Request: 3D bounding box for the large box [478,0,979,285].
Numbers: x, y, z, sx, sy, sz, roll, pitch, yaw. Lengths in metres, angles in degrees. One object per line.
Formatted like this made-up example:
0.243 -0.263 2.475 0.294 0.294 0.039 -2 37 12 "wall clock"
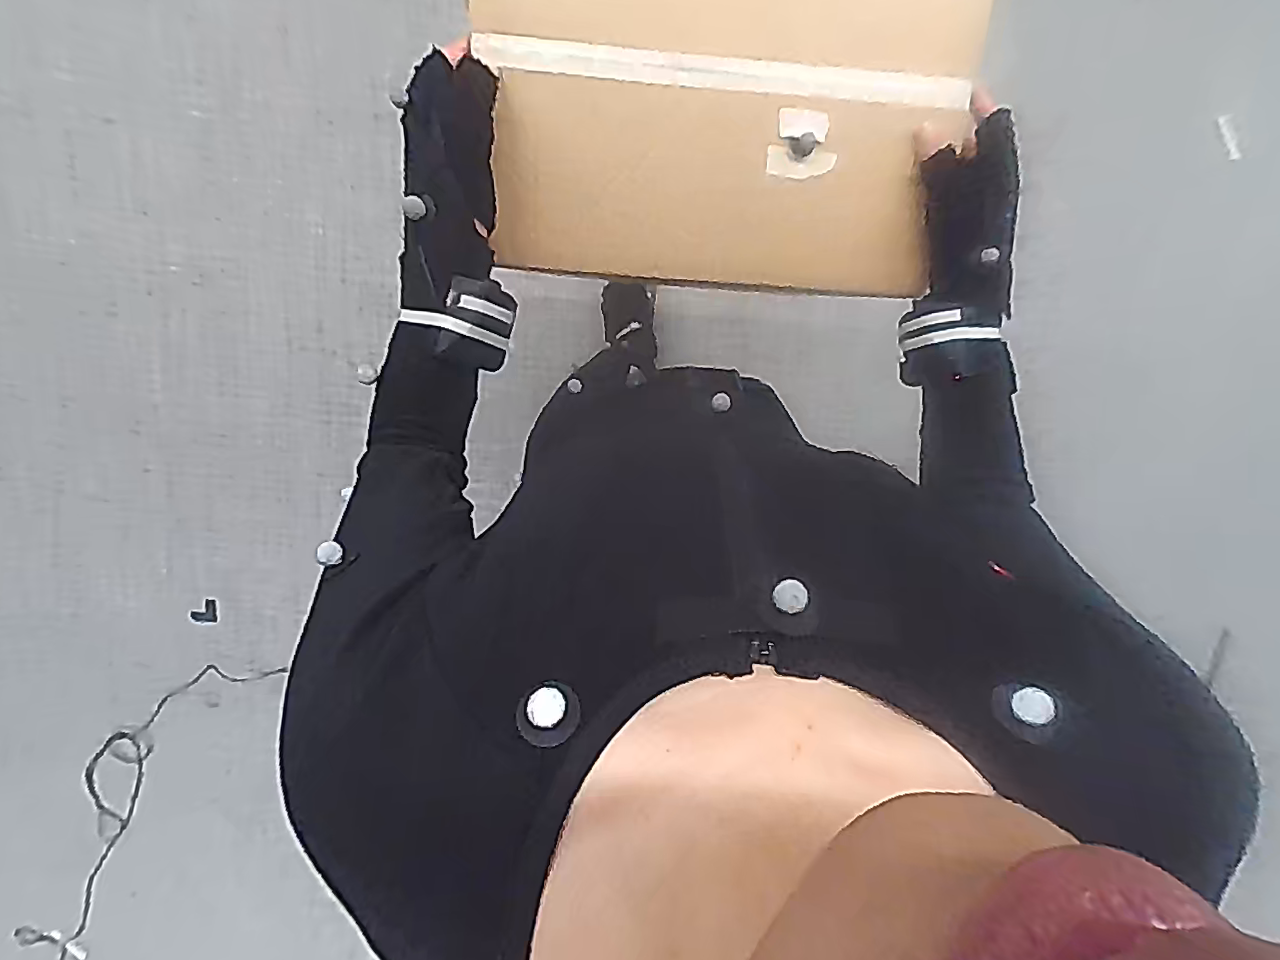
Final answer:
0.060 -0.385 0.581 0.408 0.320 0.320 2 109 -4 "large box"
